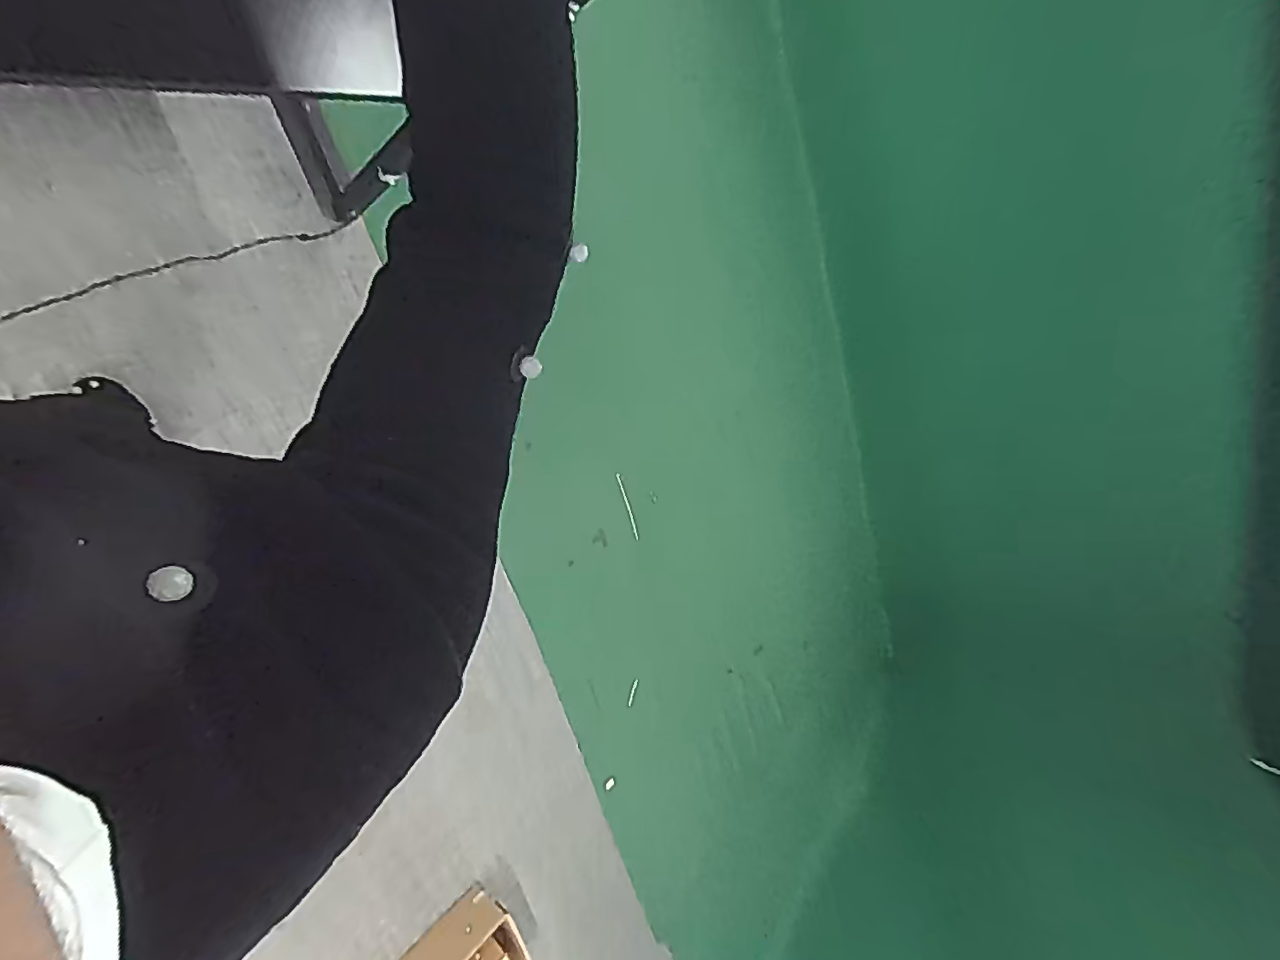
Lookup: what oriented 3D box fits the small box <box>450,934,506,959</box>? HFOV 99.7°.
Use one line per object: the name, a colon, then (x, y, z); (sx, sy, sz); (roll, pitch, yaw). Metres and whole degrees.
small box: (-0.505, 1.574, 1.682); (0.168, 0.176, 0.179); (-30, 112, -43)
